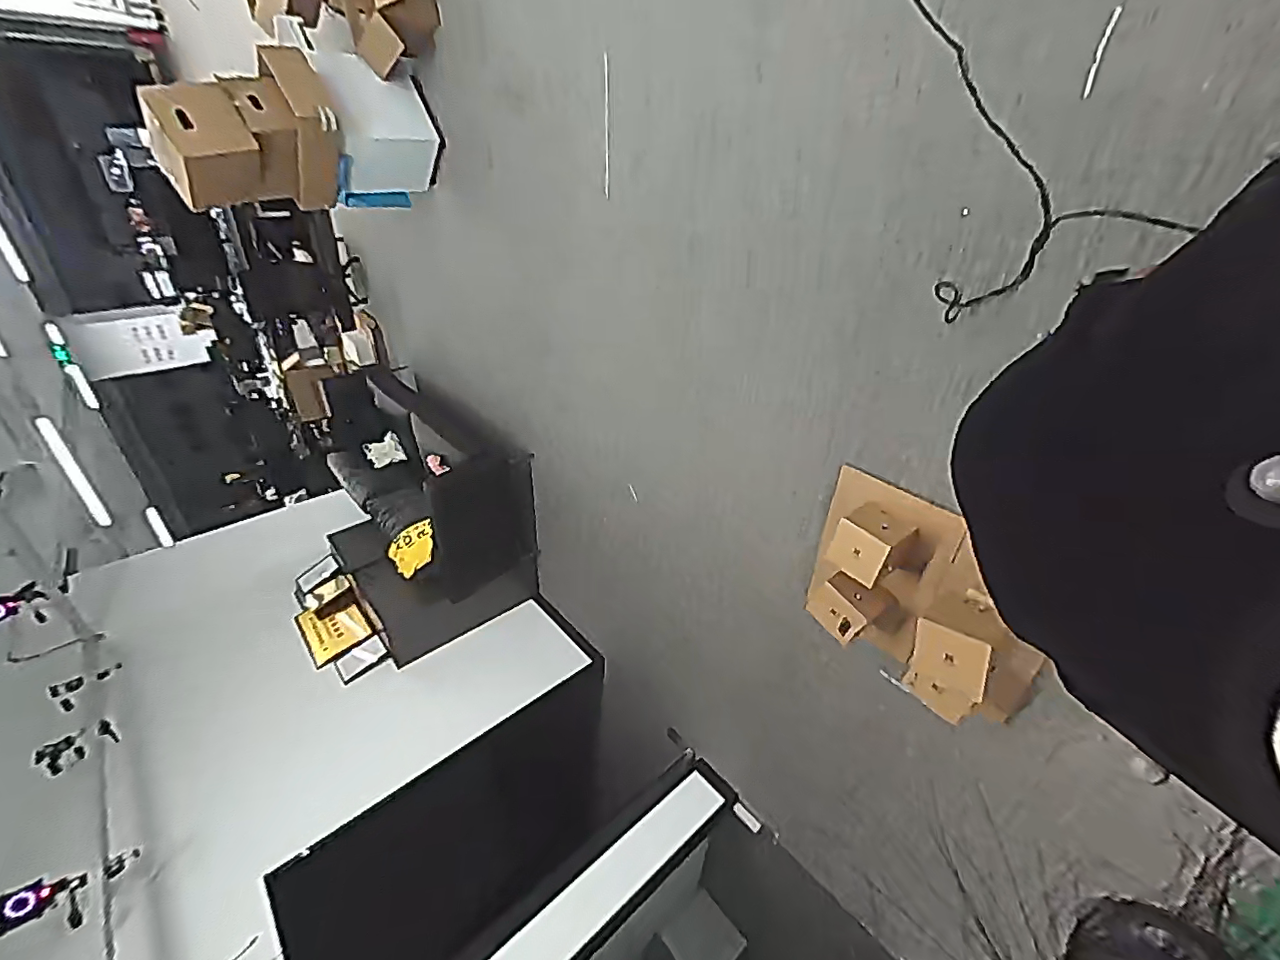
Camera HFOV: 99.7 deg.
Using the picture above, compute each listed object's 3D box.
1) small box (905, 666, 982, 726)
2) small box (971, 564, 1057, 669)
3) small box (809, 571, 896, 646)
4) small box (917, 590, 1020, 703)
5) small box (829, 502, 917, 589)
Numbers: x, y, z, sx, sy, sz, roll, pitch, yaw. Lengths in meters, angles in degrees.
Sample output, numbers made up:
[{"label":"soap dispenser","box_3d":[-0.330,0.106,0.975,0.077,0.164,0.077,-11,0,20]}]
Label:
[{"label":"small box","box_3d":[0.933,0.575,1.597,0.179,0.176,0.168,39,137,34]},{"label":"small box","box_3d":[0.961,0.355,1.431,0.168,0.176,0.179,38,137,36]},{"label":"small box","box_3d":[0.707,0.409,1.795,0.179,0.176,0.168,47,141,28]},{"label":"small box","box_3d":[0.824,0.409,1.357,0.168,0.176,0.179,19,124,46]},{"label":"small box","box_3d":[0.717,0.193,1.658,0.168,0.176,0.179,37,136,36]}]
